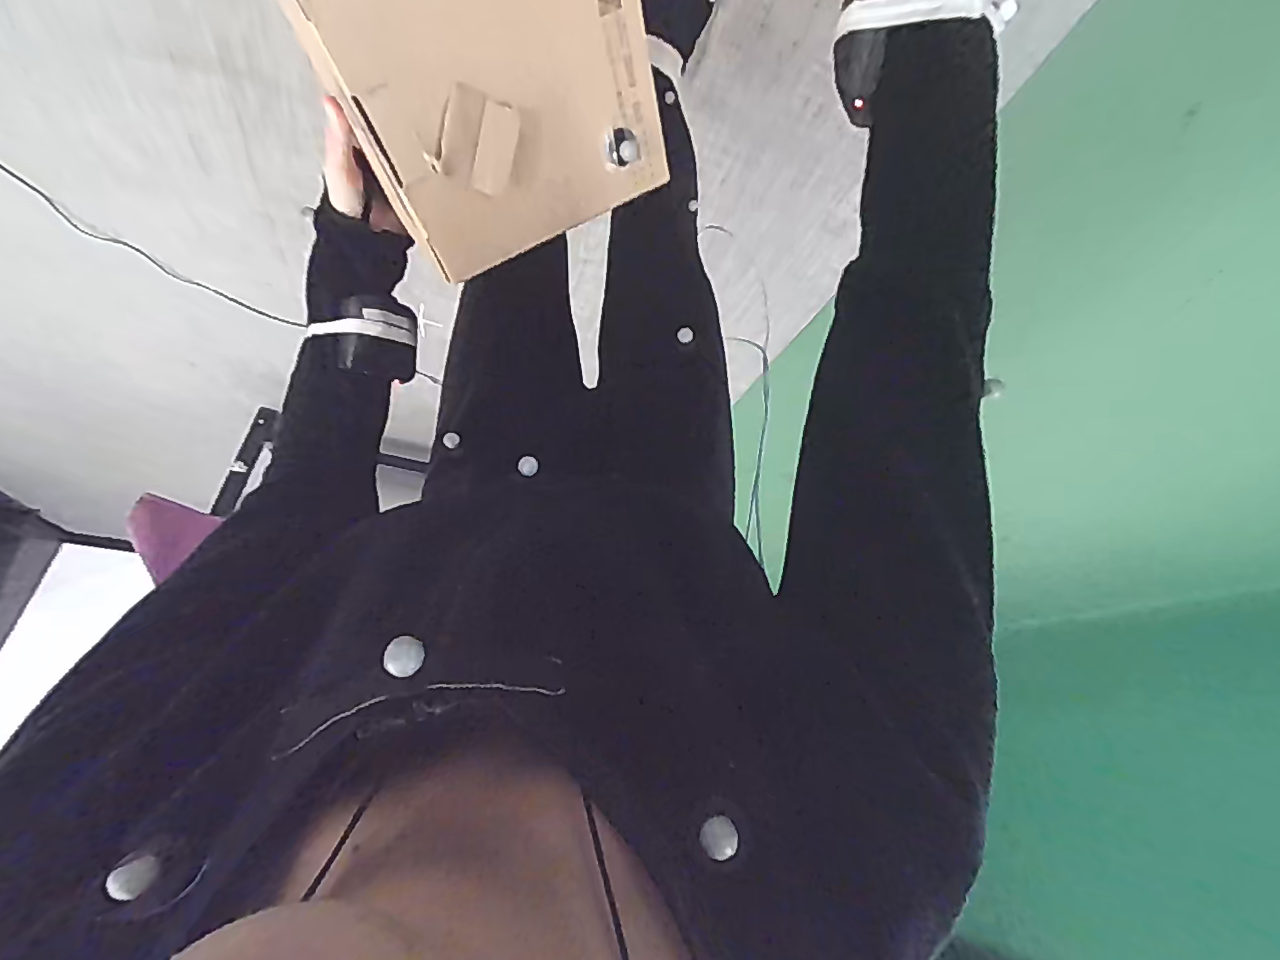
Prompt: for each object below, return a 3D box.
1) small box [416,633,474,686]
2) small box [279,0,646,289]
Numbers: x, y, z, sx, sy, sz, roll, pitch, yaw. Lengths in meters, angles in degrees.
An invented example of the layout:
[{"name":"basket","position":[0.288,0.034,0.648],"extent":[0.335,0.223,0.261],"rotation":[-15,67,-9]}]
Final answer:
[{"name":"small box","position":[-0.763,0.705,2.129],"extent":[0.179,0.176,0.168],"rotation":[12,153,-12]},{"name":"small box","position":[-0.107,-0.263,0.352],"extent":[0.176,0.179,0.168],"rotation":[-29,141,-9]}]
